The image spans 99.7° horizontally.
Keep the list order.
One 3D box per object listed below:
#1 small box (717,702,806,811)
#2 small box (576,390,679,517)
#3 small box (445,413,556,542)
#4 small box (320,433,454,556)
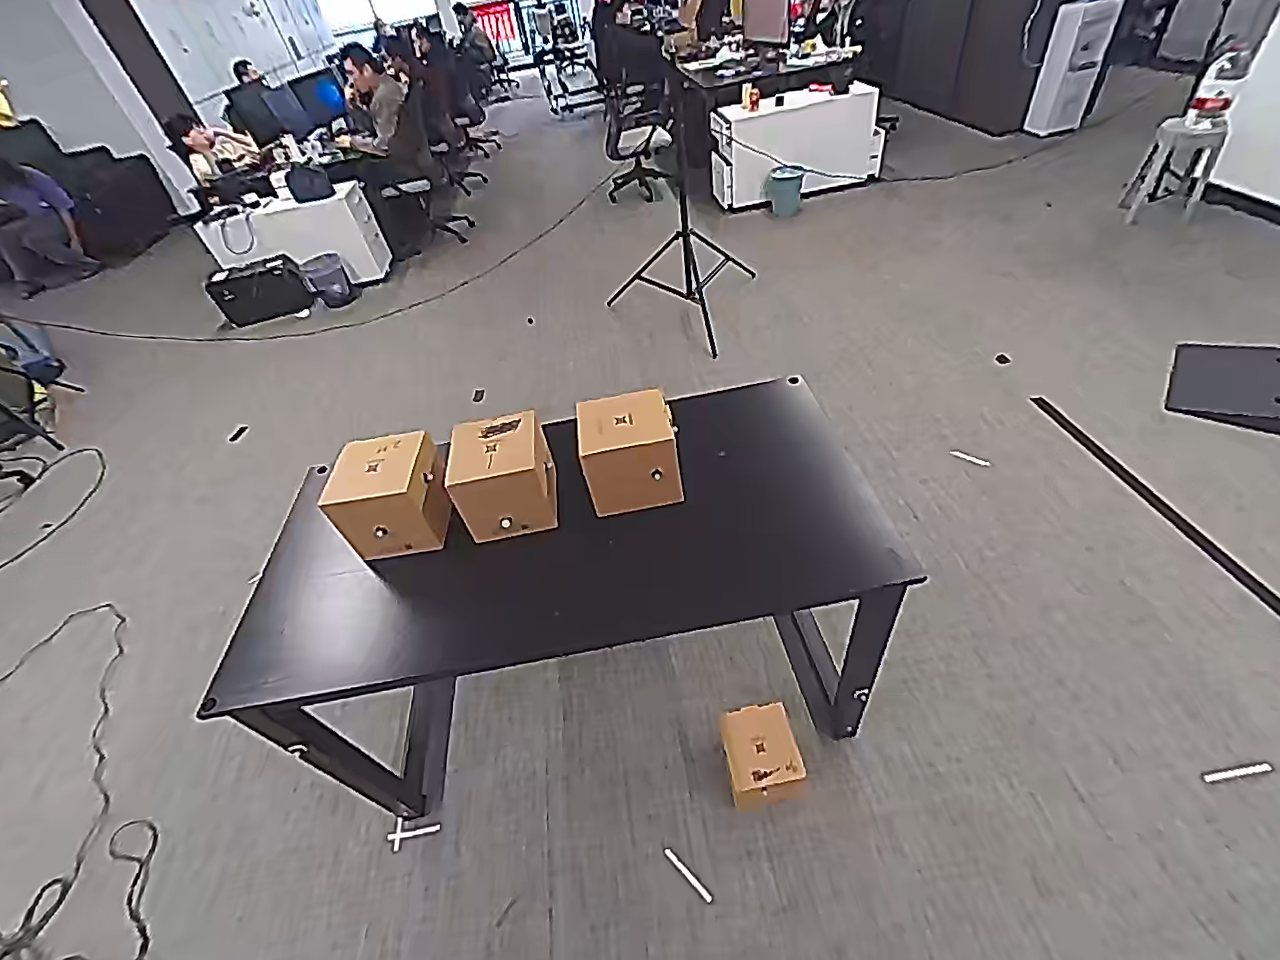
[{"bbox_3d":[0.289,0.673,1.316,0.168,0.176,0.179,-12,44,0],"label":"small box"},{"bbox_3d":[-0.021,-0.051,1.070,0.179,0.176,0.168,-12,43,1],"label":"small box"},{"bbox_3d":[-0.266,-0.004,1.070,0.168,0.176,0.179,-11,45,0],"label":"small box"},{"bbox_3d":[-0.487,0.035,1.075,0.168,0.176,0.179,-9,44,2],"label":"small box"}]
